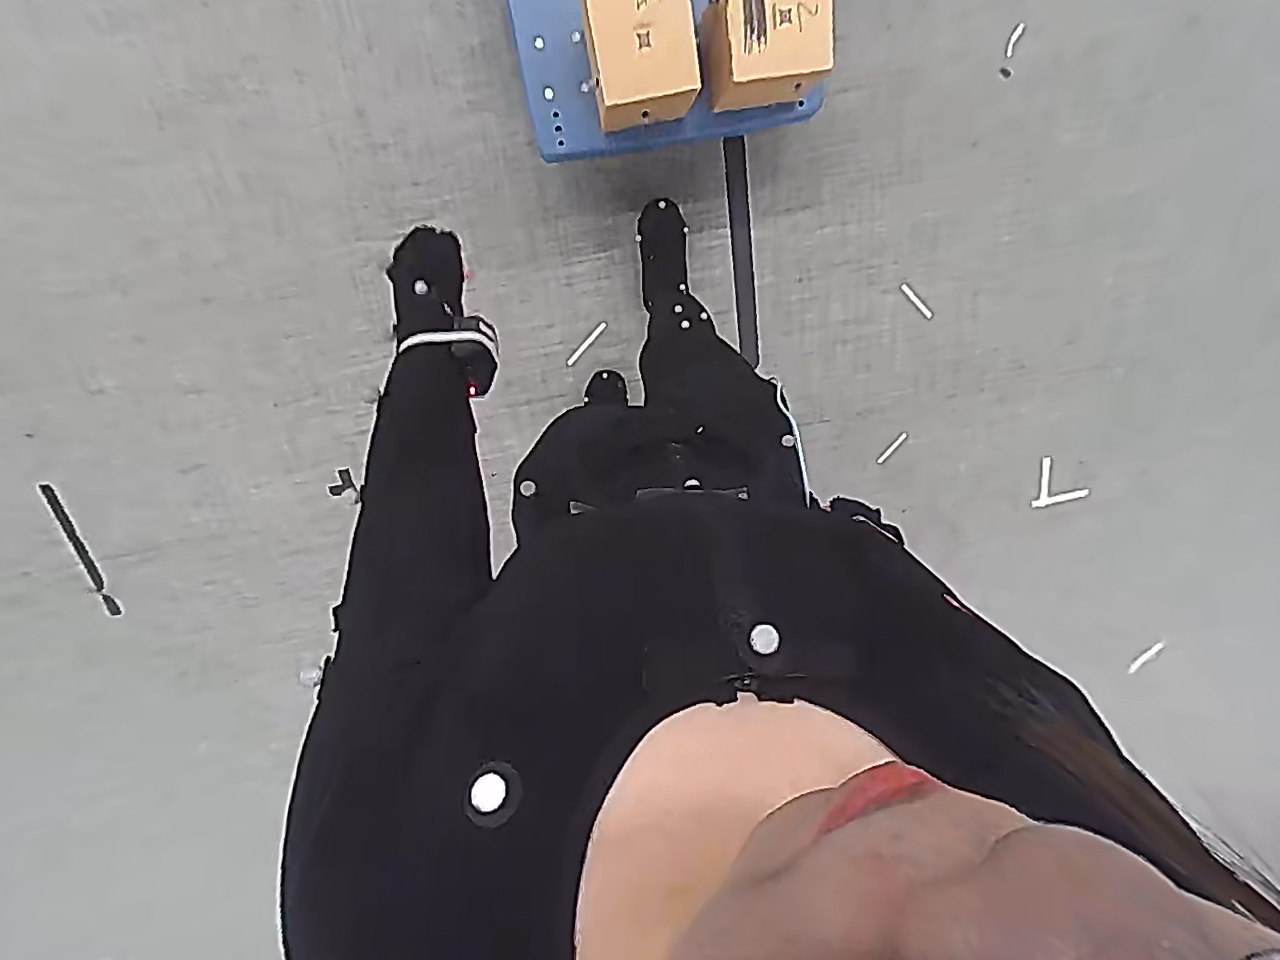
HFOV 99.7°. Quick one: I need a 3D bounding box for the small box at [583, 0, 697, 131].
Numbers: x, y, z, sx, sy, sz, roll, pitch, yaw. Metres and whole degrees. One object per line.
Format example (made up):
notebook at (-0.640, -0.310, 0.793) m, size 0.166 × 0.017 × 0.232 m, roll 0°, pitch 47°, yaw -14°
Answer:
small box at (-0.002, -0.736, 0.948) m, size 0.168 × 0.176 × 0.179 m, roll -12°, pitch 110°, yaw -1°
